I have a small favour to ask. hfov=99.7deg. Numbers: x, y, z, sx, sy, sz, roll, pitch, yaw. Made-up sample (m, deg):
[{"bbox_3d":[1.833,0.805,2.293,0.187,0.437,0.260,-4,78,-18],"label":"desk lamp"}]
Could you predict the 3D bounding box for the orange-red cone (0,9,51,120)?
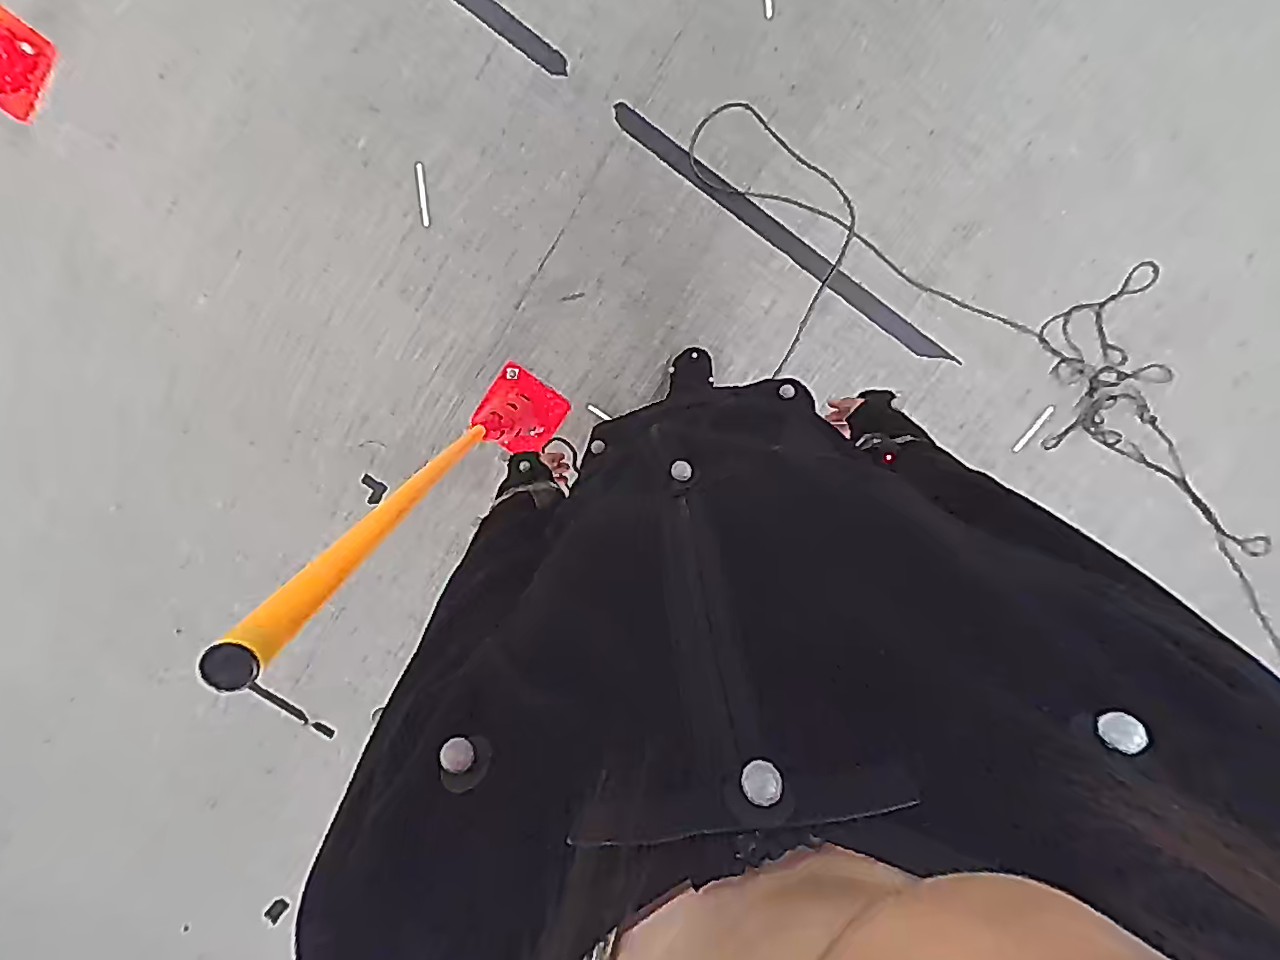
[{"bbox_3d":[-1.467,-0.924,1.061,0.199,0.360,0.198,37,100,-6],"label":"orange-red cone"}]
